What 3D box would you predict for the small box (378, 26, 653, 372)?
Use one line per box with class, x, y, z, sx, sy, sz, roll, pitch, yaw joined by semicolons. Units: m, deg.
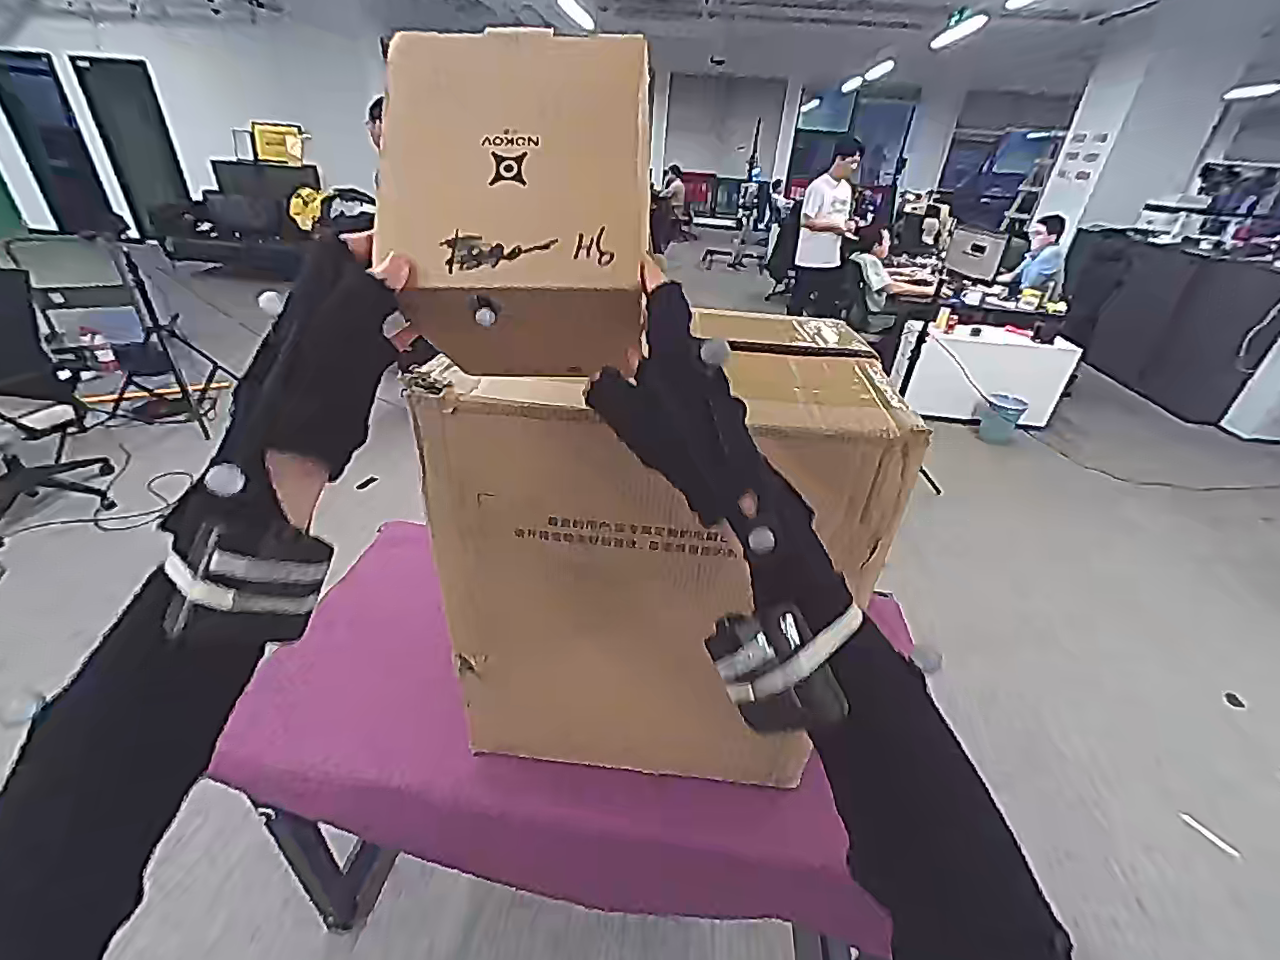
small box;-0.075;-0.199;0.419;0.168;0.179;0.176;0;-10;2
